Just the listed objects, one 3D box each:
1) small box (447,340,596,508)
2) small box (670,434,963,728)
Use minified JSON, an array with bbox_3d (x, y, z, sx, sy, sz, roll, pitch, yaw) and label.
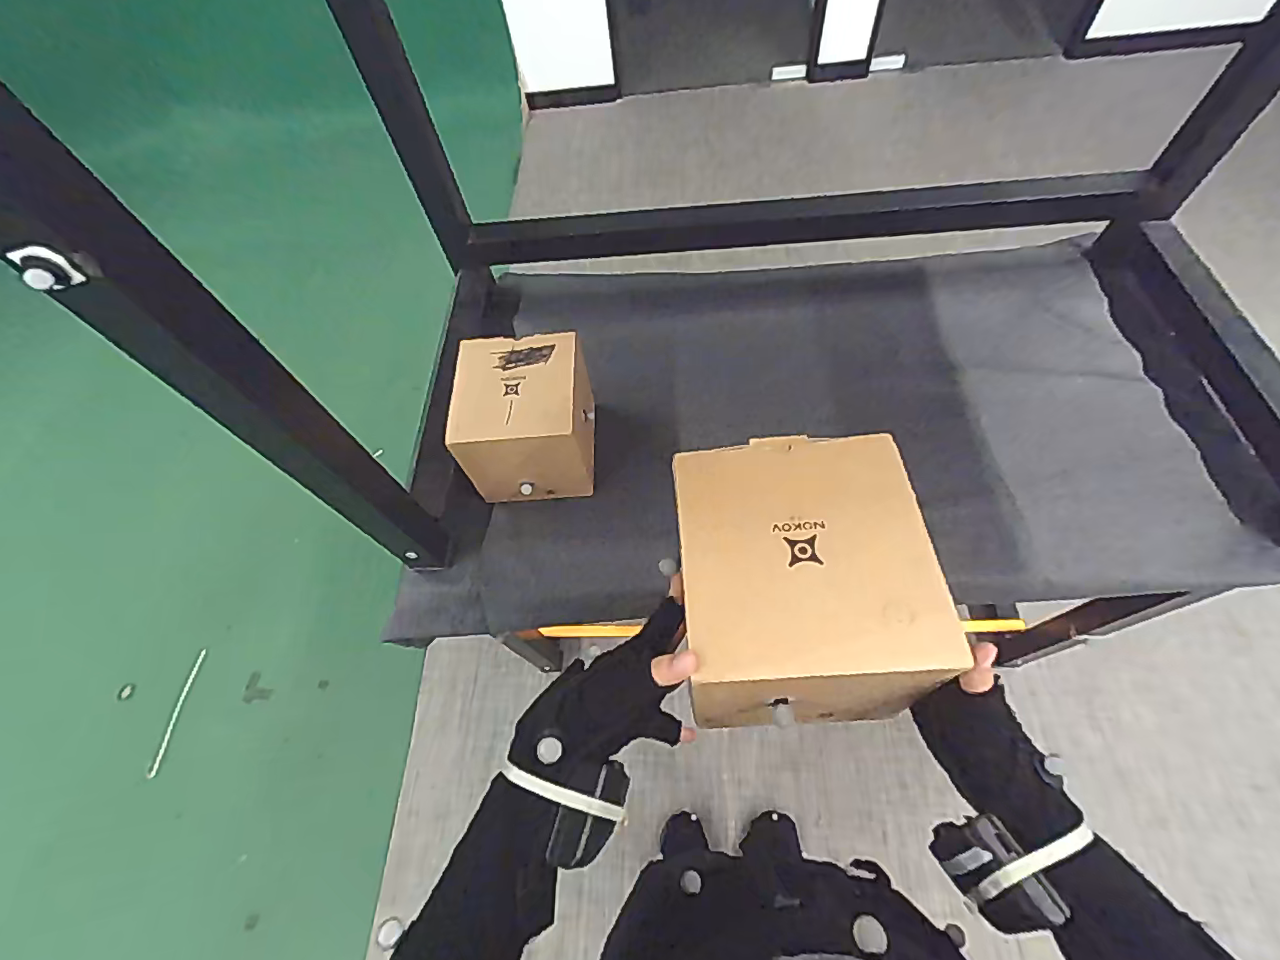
[{"bbox_3d":[-0.159,-0.077,0.788,0.168,0.176,0.179,-4,60,4],"label":"small box"},{"bbox_3d":[0.116,0.090,0.430,0.168,0.176,0.179,-6,54,5],"label":"small box"}]
